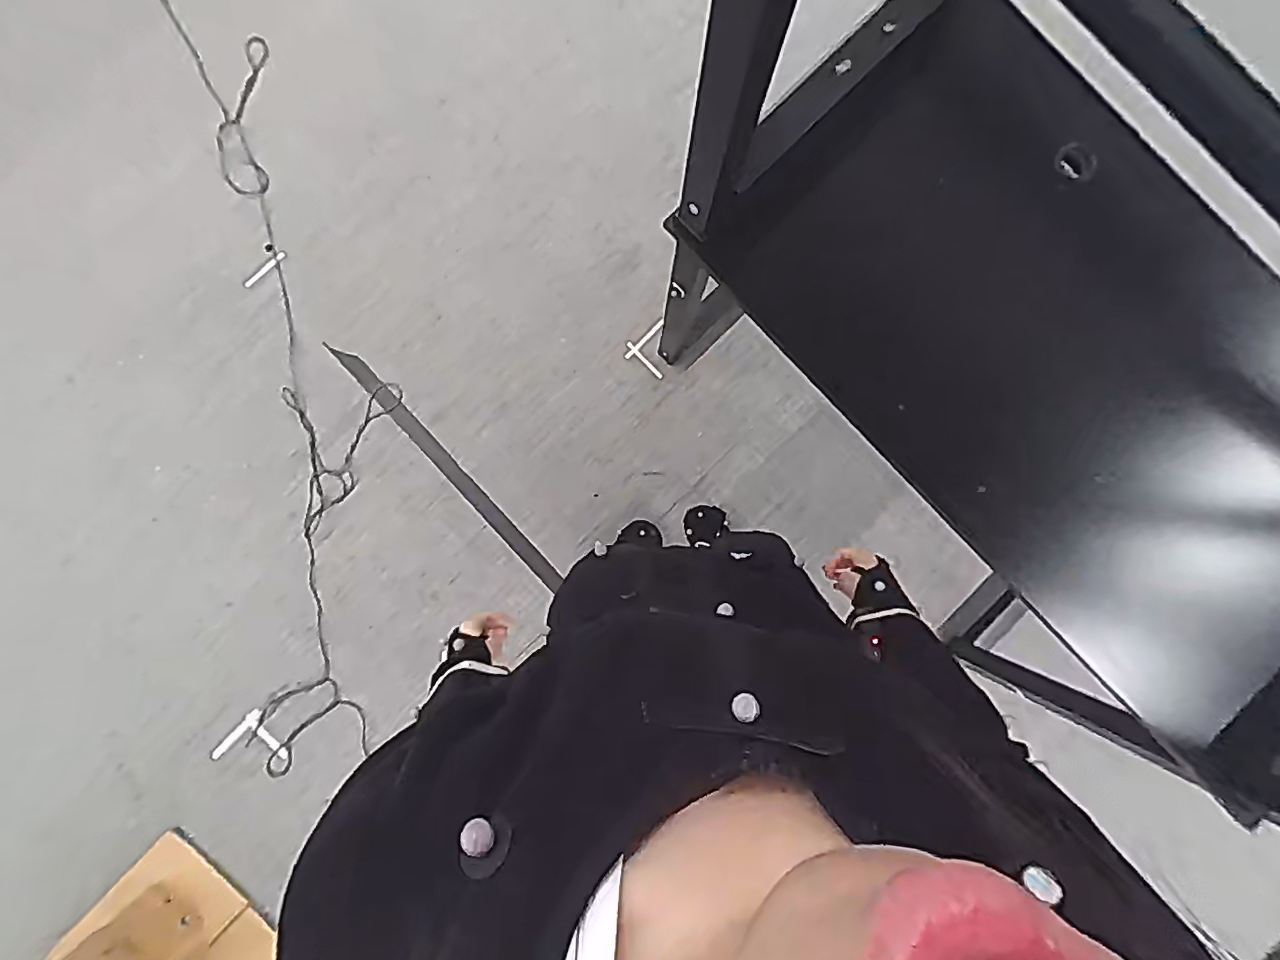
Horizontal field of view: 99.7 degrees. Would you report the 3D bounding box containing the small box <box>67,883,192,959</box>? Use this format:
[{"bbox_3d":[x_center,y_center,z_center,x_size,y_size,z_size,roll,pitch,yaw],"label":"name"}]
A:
[{"bbox_3d":[-1.288,1.178,1.357,0.168,0.176,0.179,40,88,0],"label":"small box"}]
